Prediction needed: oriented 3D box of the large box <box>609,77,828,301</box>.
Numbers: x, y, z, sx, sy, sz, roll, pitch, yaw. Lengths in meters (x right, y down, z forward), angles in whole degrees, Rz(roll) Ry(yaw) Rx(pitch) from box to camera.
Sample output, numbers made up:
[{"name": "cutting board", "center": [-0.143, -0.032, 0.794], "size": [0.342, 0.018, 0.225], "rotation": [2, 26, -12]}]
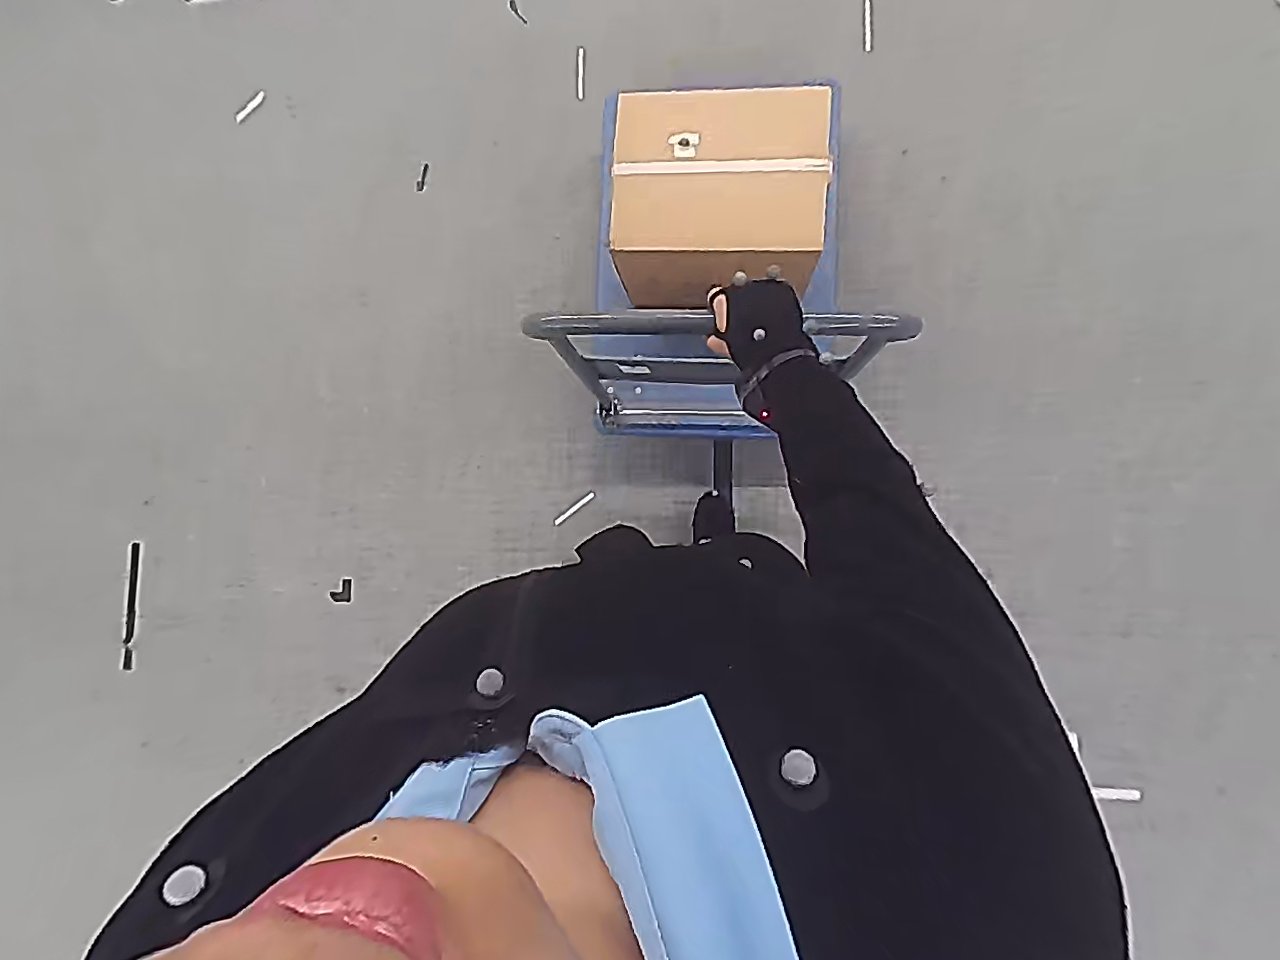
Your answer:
[{"name": "large box", "center": [0.167, -0.585, 1.157], "size": [0.408, 0.320, 0.320], "rotation": [3, 88, 9]}]
